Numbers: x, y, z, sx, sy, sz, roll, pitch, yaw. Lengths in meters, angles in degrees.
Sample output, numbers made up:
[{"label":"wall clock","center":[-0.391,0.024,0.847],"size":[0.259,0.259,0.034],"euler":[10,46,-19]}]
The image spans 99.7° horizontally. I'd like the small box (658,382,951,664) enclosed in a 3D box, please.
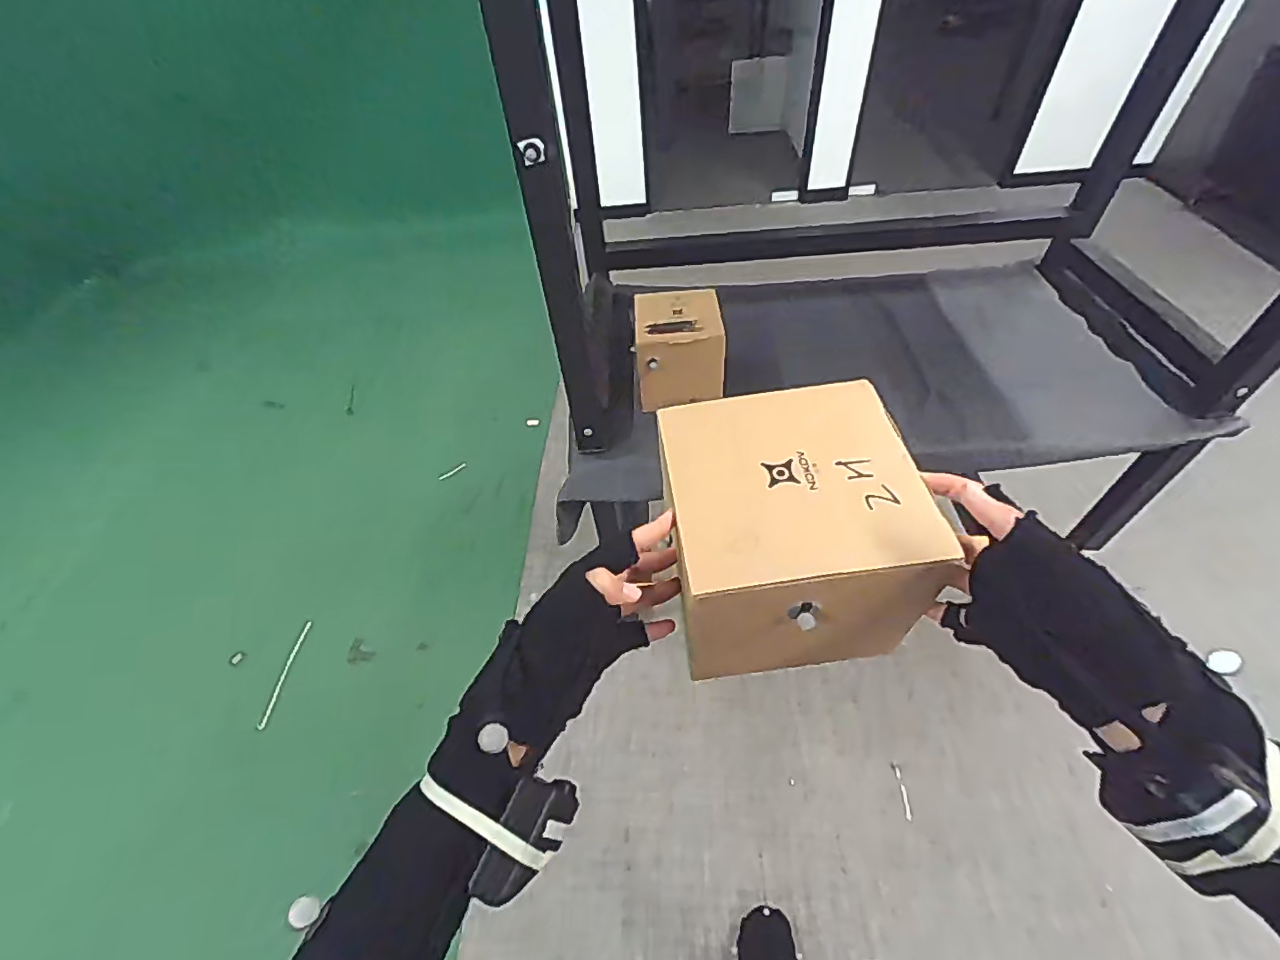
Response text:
[{"label":"small box","center":[0.115,0.043,0.458],"size":[0.179,0.176,0.168],"euler":[-7,53,-1]}]
